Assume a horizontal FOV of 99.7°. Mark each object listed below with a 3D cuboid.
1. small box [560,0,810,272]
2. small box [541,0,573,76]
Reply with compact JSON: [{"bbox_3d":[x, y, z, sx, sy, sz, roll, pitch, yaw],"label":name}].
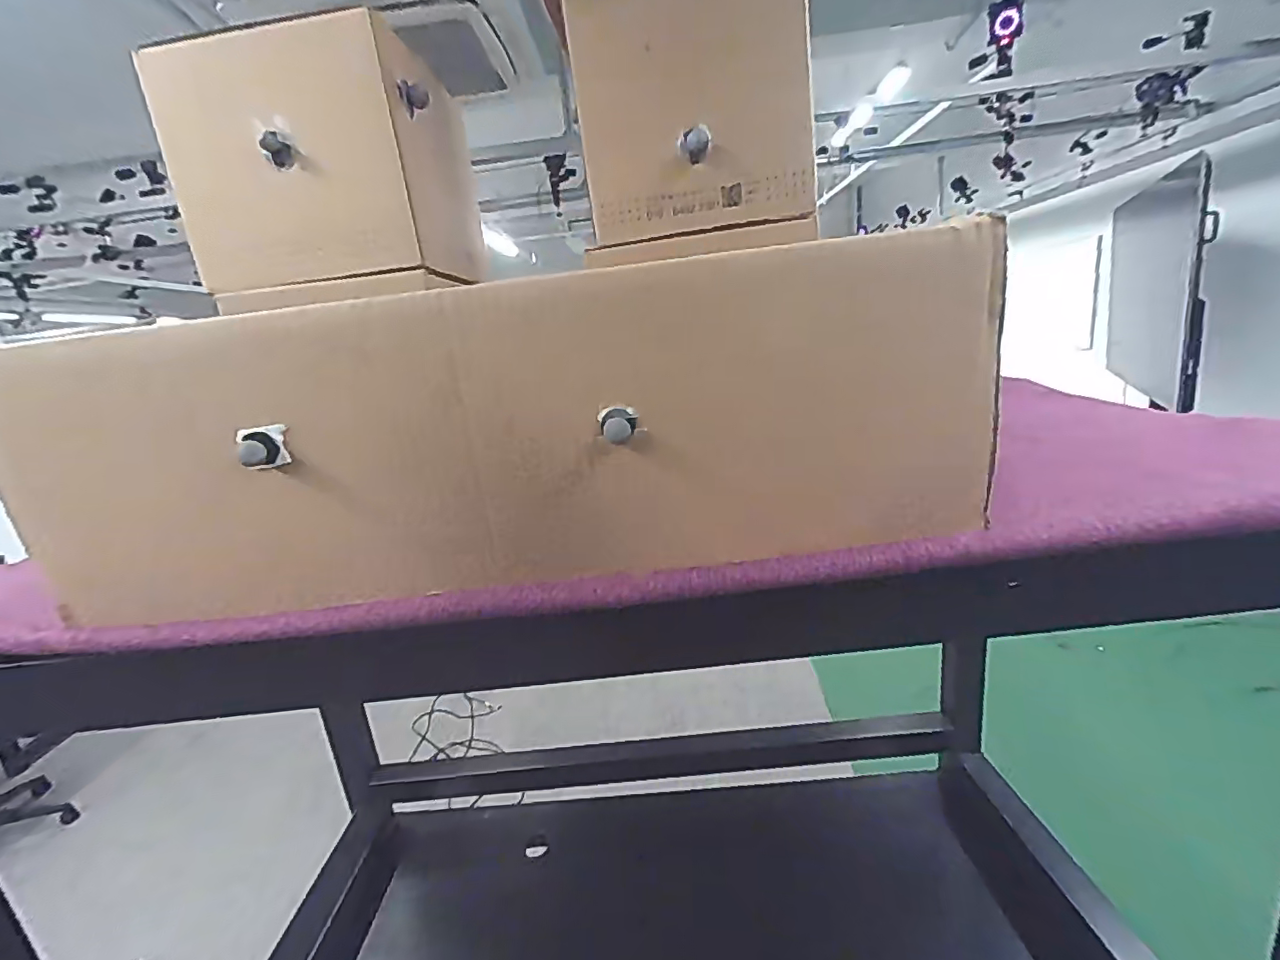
[{"bbox_3d":[0.040,-0.281,0.461,0.168,0.176,0.179,-7,14,5],"label":"small box"},{"bbox_3d":[0.005,-0.435,0.418,0.168,0.176,0.179,-6,14,6],"label":"small box"}]
